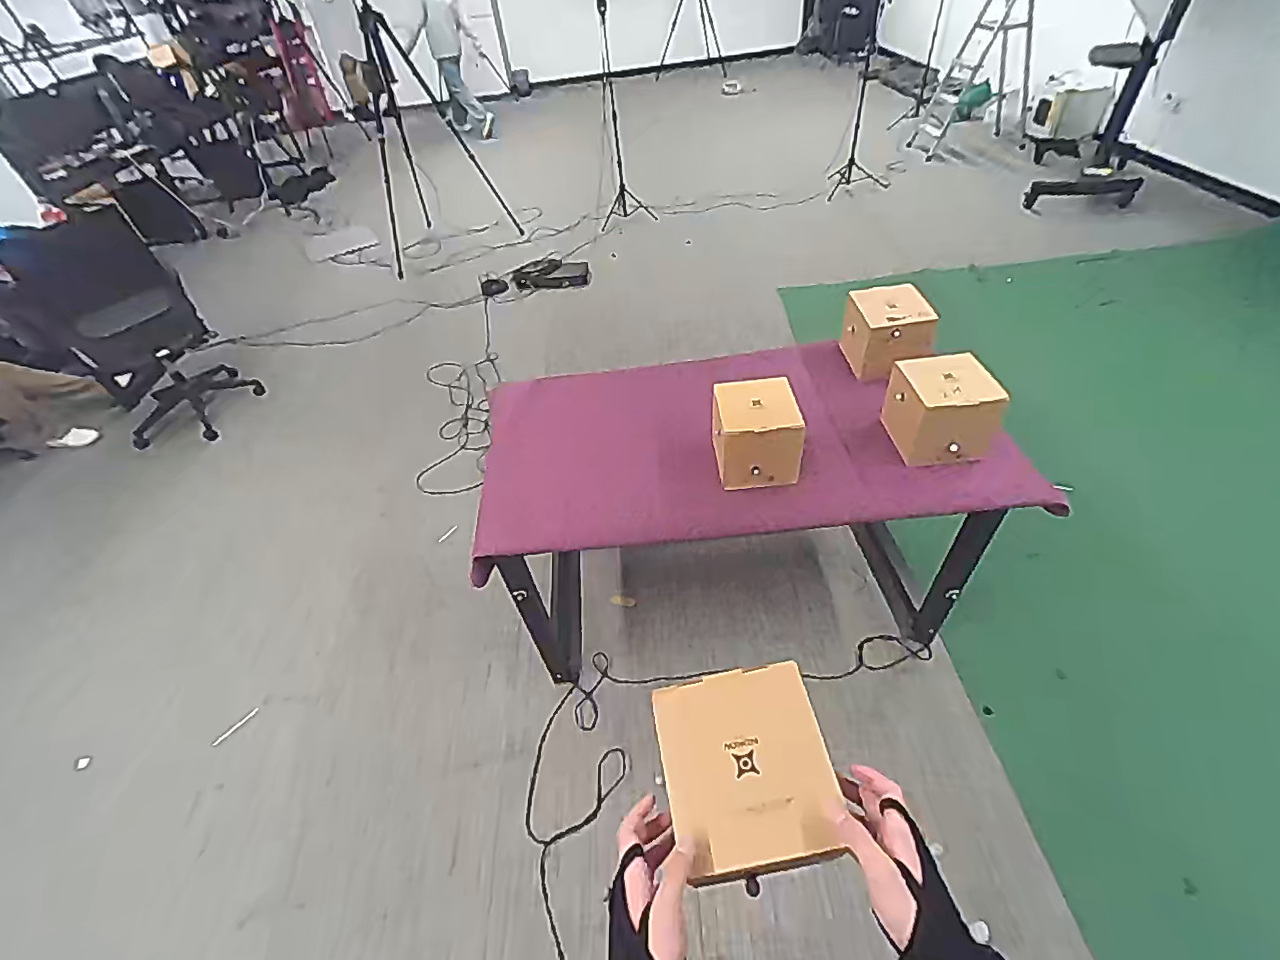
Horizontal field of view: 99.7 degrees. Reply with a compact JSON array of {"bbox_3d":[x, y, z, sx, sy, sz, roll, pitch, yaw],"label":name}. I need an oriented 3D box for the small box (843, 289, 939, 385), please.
[{"bbox_3d":[0.646,-0.374,1.418,0.168,0.176,0.179,-8,47,3],"label":"small box"}]

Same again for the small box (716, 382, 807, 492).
[{"bbox_3d":[0.261,-0.095,1.206,0.168,0.176,0.179,-5,45,2],"label":"small box"}]

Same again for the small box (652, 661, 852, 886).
[{"bbox_3d":[0.113,0.329,0.603,0.168,0.176,0.179,-12,50,2],"label":"small box"}]

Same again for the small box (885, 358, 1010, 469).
[{"bbox_3d":[0.662,-0.145,1.192,0.168,0.176,0.179,-6,44,4],"label":"small box"}]
